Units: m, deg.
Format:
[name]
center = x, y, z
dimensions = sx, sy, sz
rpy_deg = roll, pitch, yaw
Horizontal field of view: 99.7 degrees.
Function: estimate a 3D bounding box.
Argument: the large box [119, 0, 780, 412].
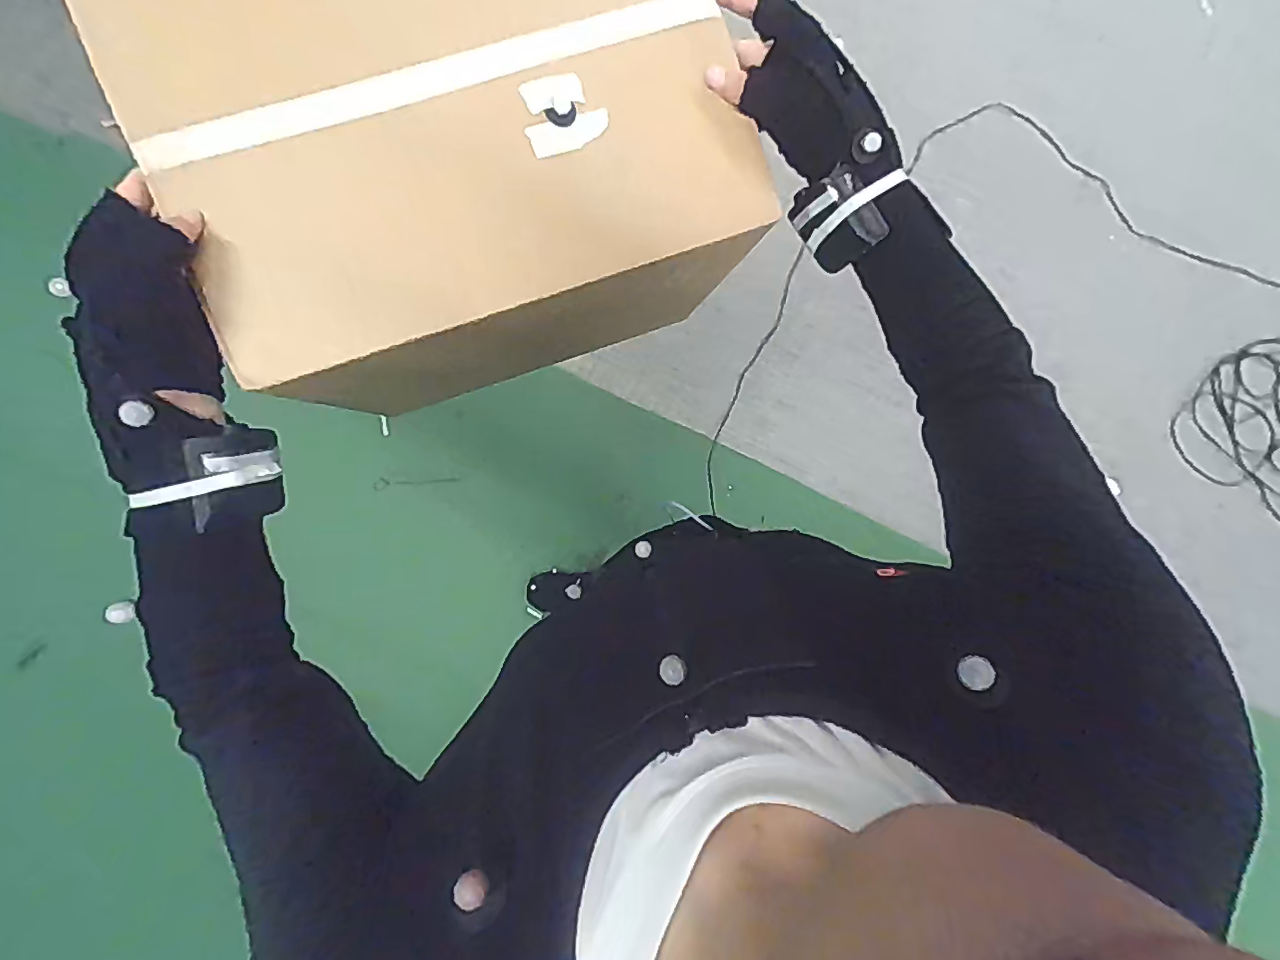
[large box]
center = -0.144, -0.287, 0.536
dimensions = 0.408, 0.320, 0.320
rpy_deg = -20, 96, -7
